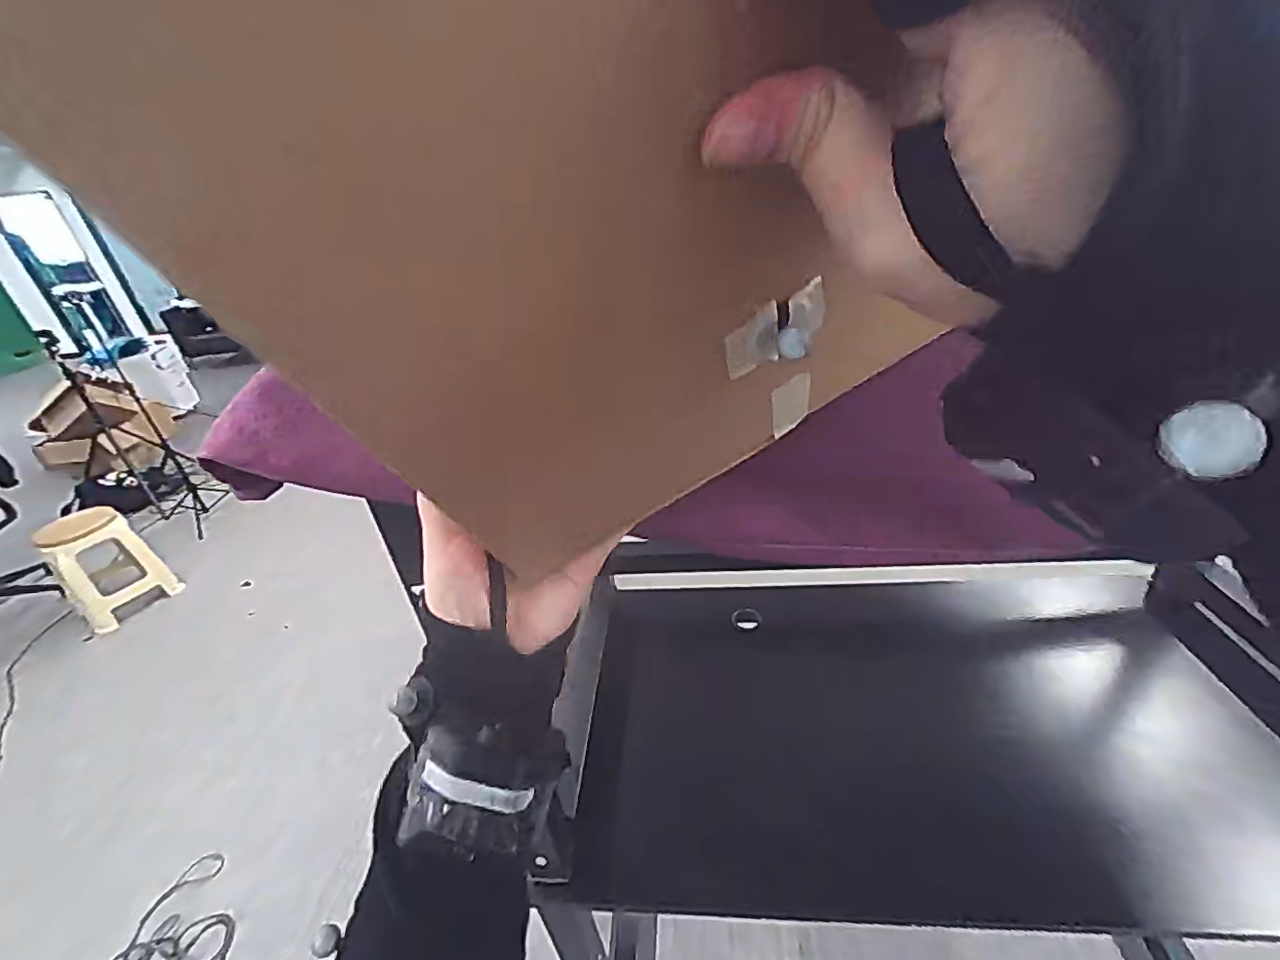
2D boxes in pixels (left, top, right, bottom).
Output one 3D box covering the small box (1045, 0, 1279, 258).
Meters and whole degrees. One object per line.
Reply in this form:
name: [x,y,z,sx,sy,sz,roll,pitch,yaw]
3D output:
small box: [0.386,-0.258,0.365,0.179,0.176,0.168,-2,29,12]
